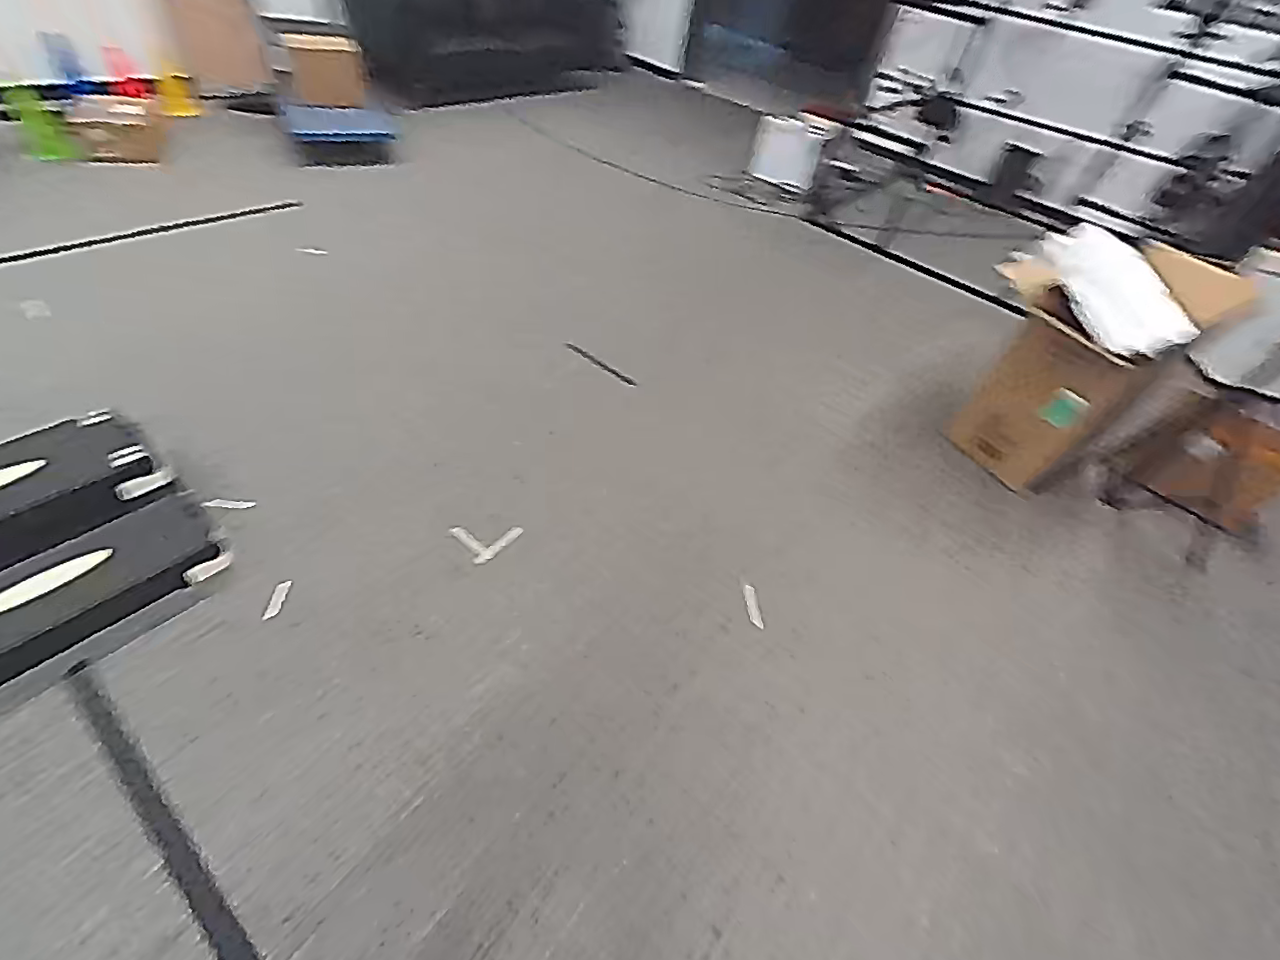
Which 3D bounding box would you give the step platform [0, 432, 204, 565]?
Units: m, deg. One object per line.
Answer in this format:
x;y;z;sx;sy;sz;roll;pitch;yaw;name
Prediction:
-1.585;0.126;1.394;0.286;0.204;0.684;39;50;25;step platform
